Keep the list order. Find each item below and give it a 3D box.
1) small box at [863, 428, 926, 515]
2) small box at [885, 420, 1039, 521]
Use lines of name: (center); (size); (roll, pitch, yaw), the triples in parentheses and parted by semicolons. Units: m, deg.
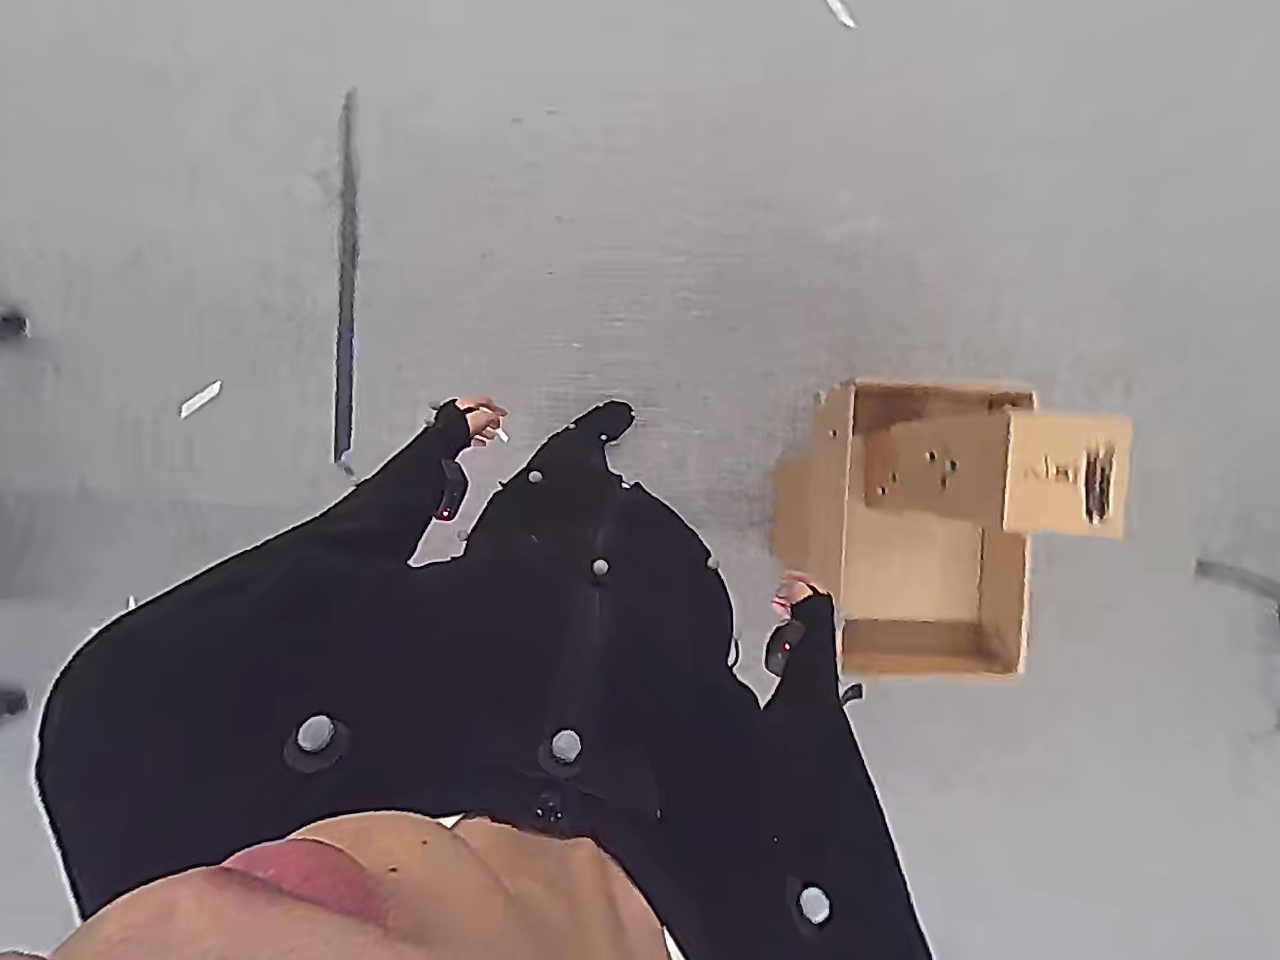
small box: (0.594, -0.023, 1.156); (0.168, 0.176, 0.179); (-3, 92, -3)
small box: (0.582, -0.019, 0.993); (0.179, 0.176, 0.168); (3, 92, -3)
